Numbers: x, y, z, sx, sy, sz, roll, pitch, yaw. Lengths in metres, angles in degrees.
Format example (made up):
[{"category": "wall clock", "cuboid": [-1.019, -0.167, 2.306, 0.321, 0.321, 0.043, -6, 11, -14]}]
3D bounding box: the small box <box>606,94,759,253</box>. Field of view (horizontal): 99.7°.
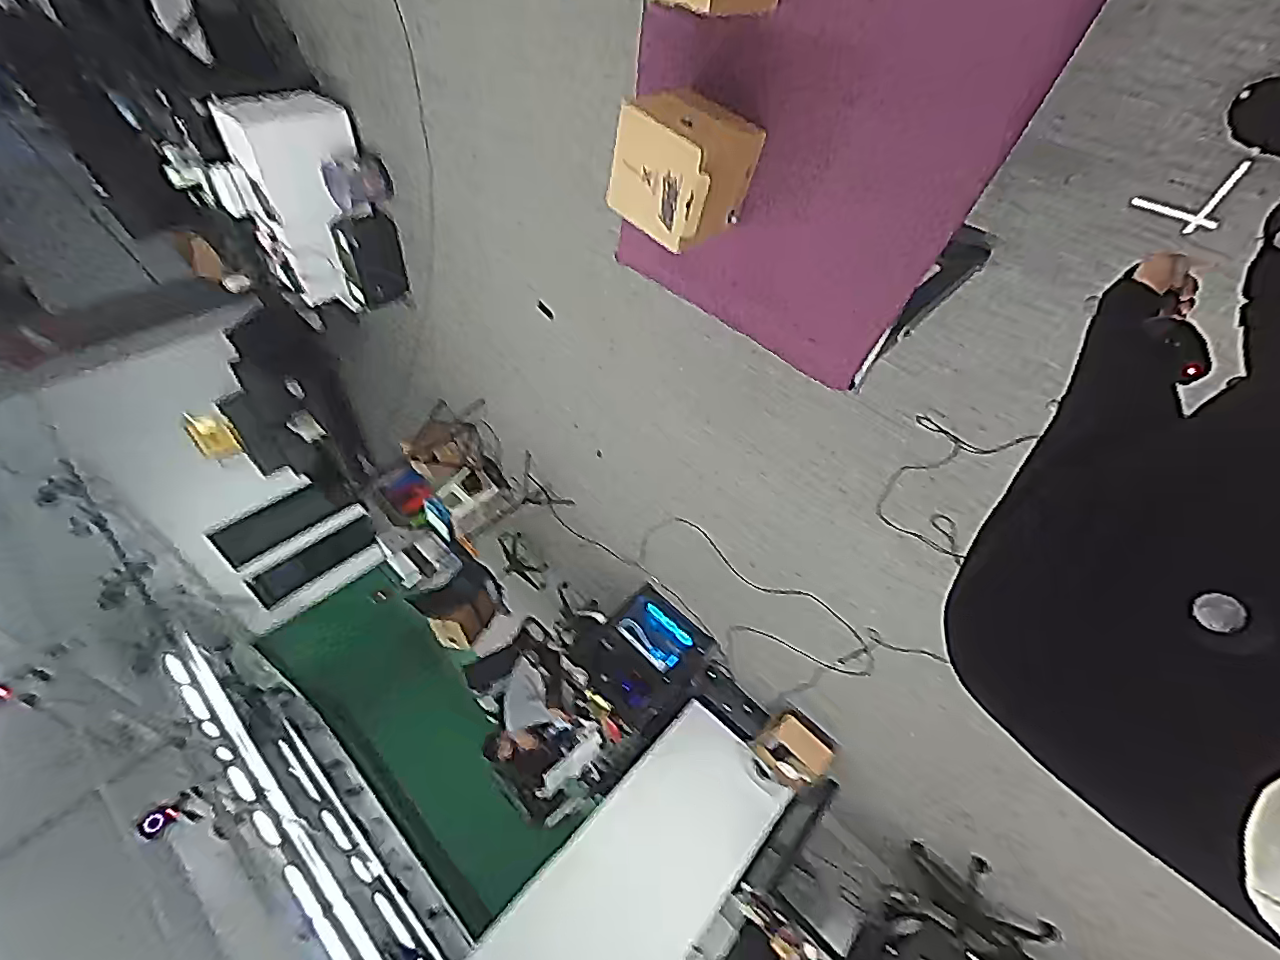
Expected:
[{"category": "small box", "cuboid": [0.070, -0.521, 0.910, 0.179, 0.176, 0.168, 41, 145, 17]}]
